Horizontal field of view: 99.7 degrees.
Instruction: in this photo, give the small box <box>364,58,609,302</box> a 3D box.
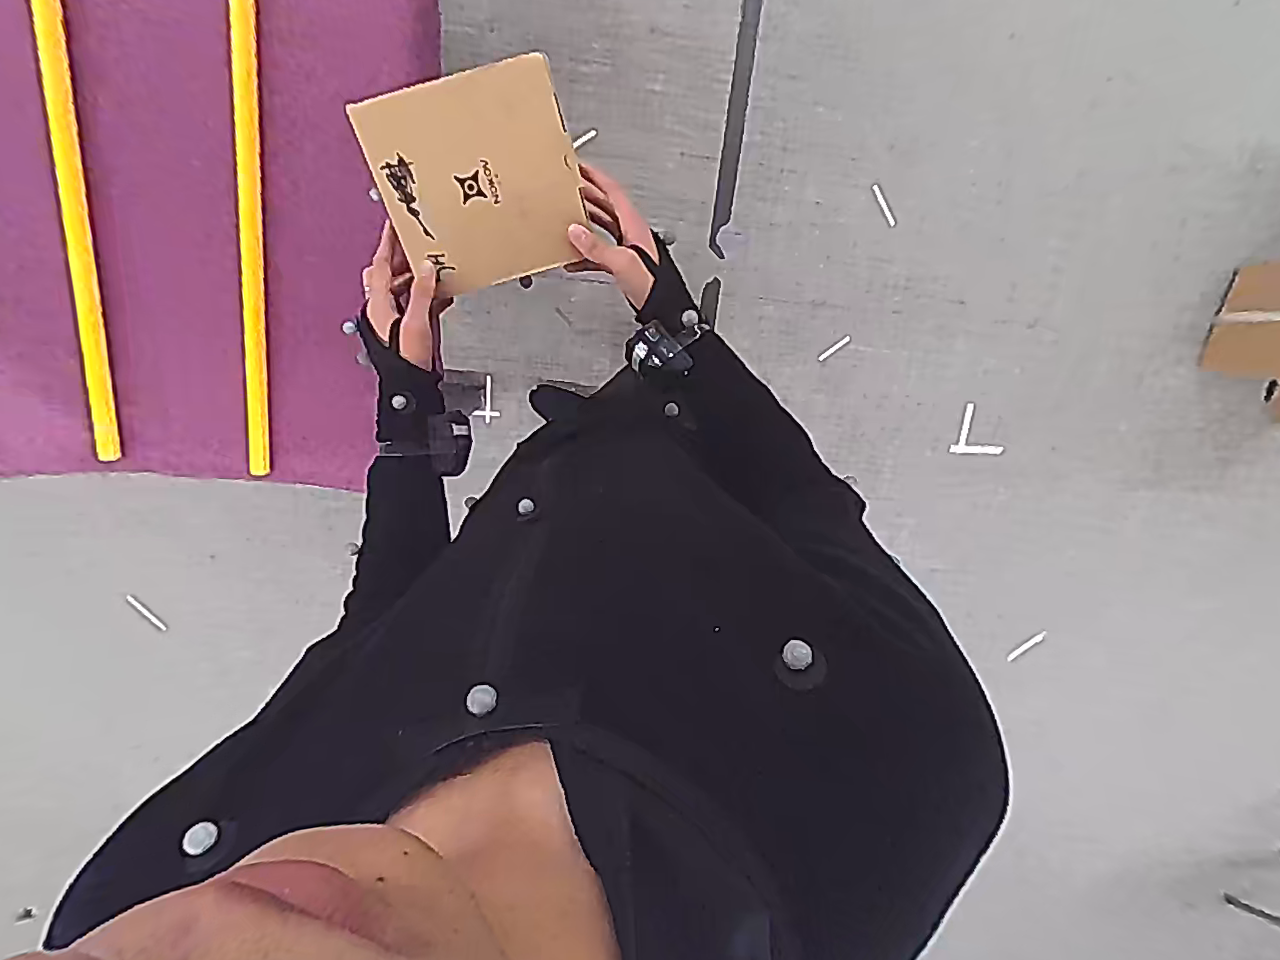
[{"bbox_3d":[-0.140,-0.295,0.556,0.179,0.176,0.168,-15,115,0],"label":"small box"}]
